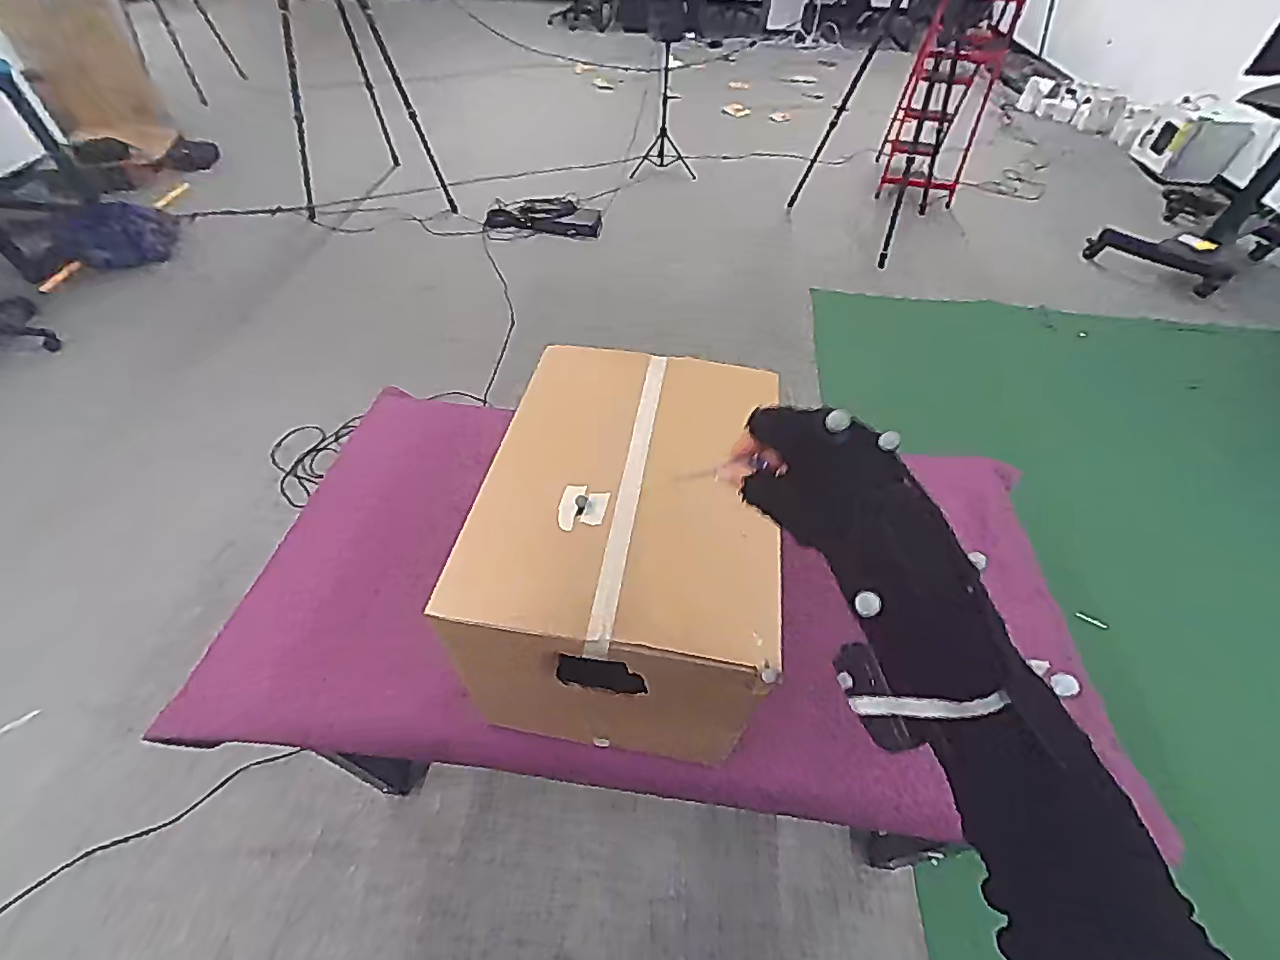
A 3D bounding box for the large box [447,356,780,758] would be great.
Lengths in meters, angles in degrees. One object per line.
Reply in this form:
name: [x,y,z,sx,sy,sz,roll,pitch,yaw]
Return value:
large box: [-0.007,0.095,0.720,0.320,0.320,0.408,8,50,5]
